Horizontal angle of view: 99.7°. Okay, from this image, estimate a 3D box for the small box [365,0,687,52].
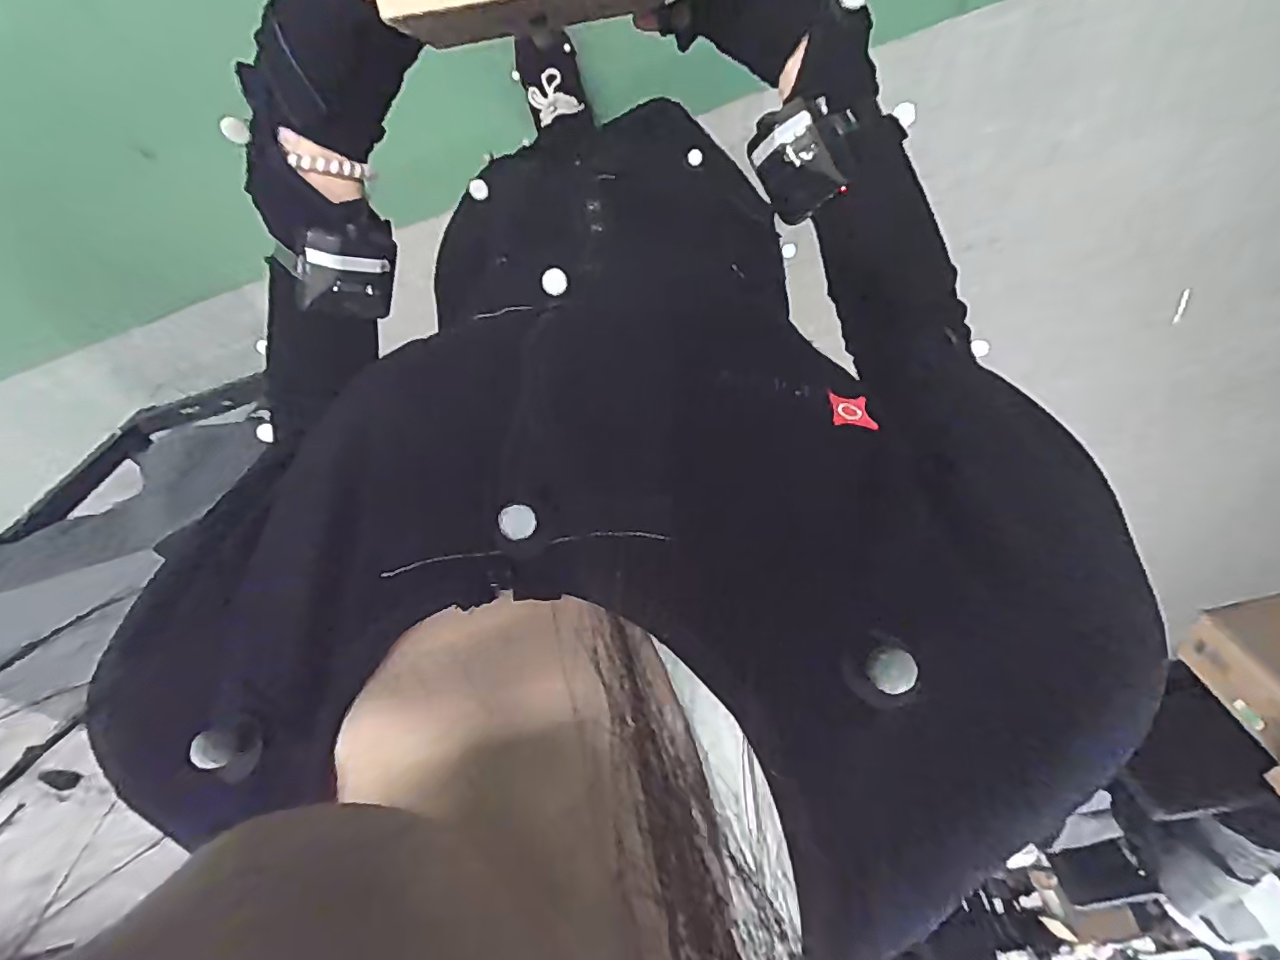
[{"bbox_3d":[-0.069,-0.340,0.277,0.168,0.176,0.179,-12,126,-3],"label":"small box"}]
